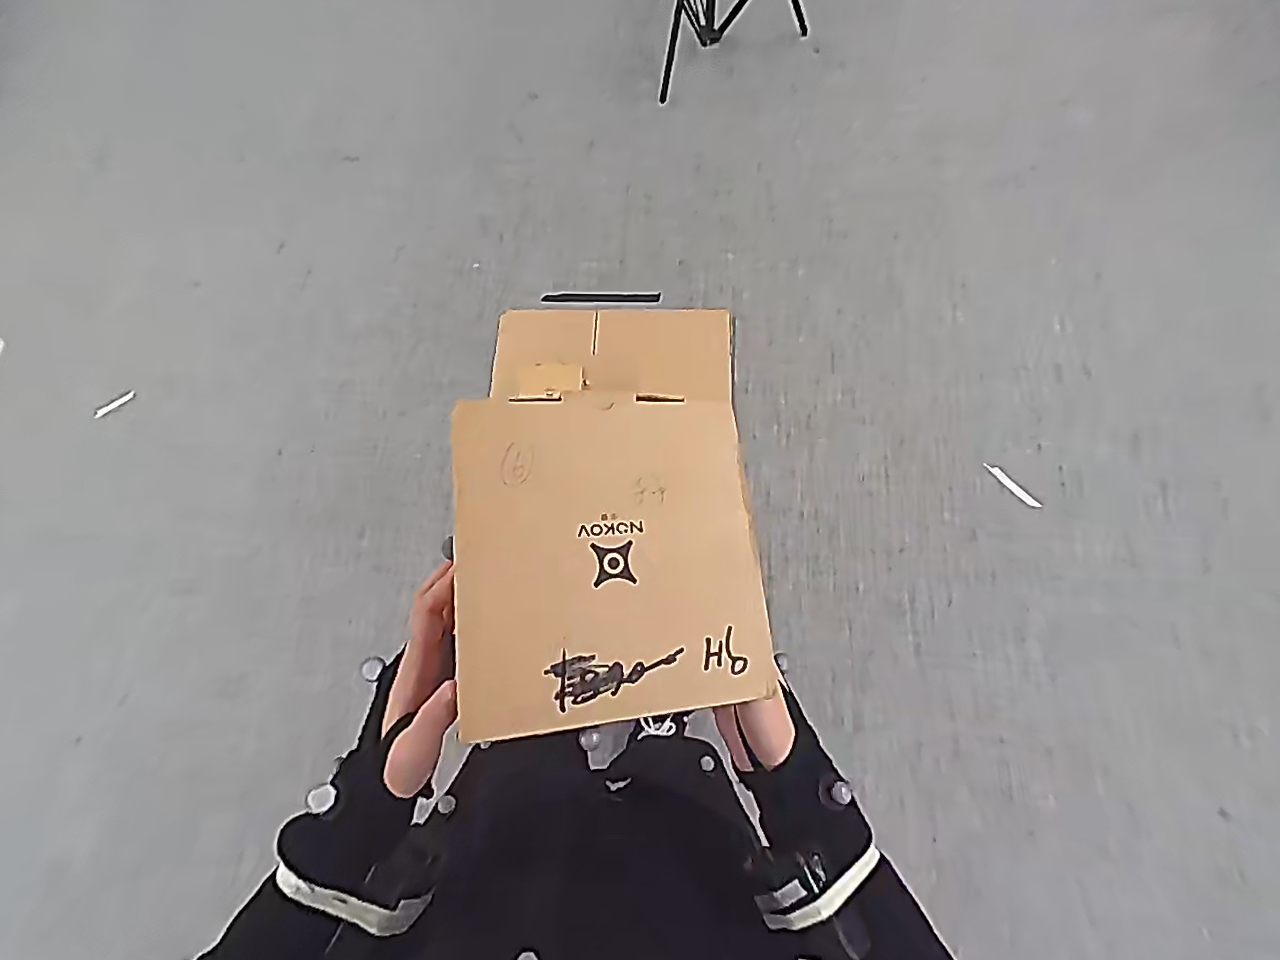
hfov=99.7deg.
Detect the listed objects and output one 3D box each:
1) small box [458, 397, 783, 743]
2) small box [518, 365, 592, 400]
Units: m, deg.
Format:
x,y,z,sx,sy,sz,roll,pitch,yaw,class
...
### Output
x,y,z,sx,sy,sz,roll,pitch,yaw,class
-0.029,0.059,0.363,0.168,0.176,0.179,-3,75,-13,small box
-0.223,-0.191,1.452,0.168,0.176,0.179,-1,73,4,small box
